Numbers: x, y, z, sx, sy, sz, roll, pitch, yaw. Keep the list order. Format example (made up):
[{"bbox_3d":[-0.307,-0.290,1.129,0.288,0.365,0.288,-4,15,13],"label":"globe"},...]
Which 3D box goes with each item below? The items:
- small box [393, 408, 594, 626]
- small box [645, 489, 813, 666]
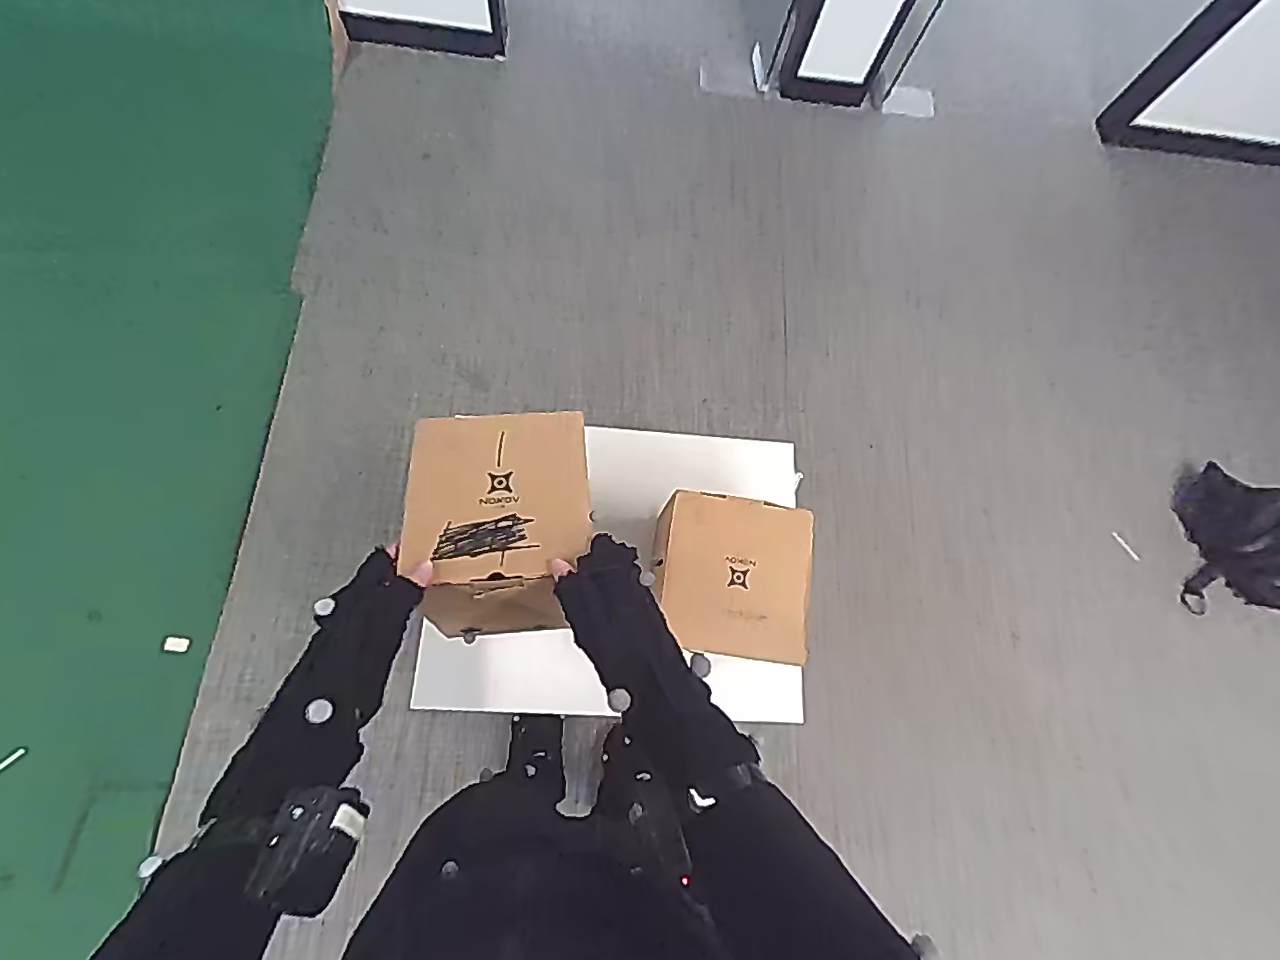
[{"bbox_3d":[-0.136,0.047,0.566,0.168,0.176,0.179,-4,59,-5],"label":"small box"},{"bbox_3d":[0.101,0.125,0.669,0.168,0.176,0.179,8,74,-2],"label":"small box"}]
